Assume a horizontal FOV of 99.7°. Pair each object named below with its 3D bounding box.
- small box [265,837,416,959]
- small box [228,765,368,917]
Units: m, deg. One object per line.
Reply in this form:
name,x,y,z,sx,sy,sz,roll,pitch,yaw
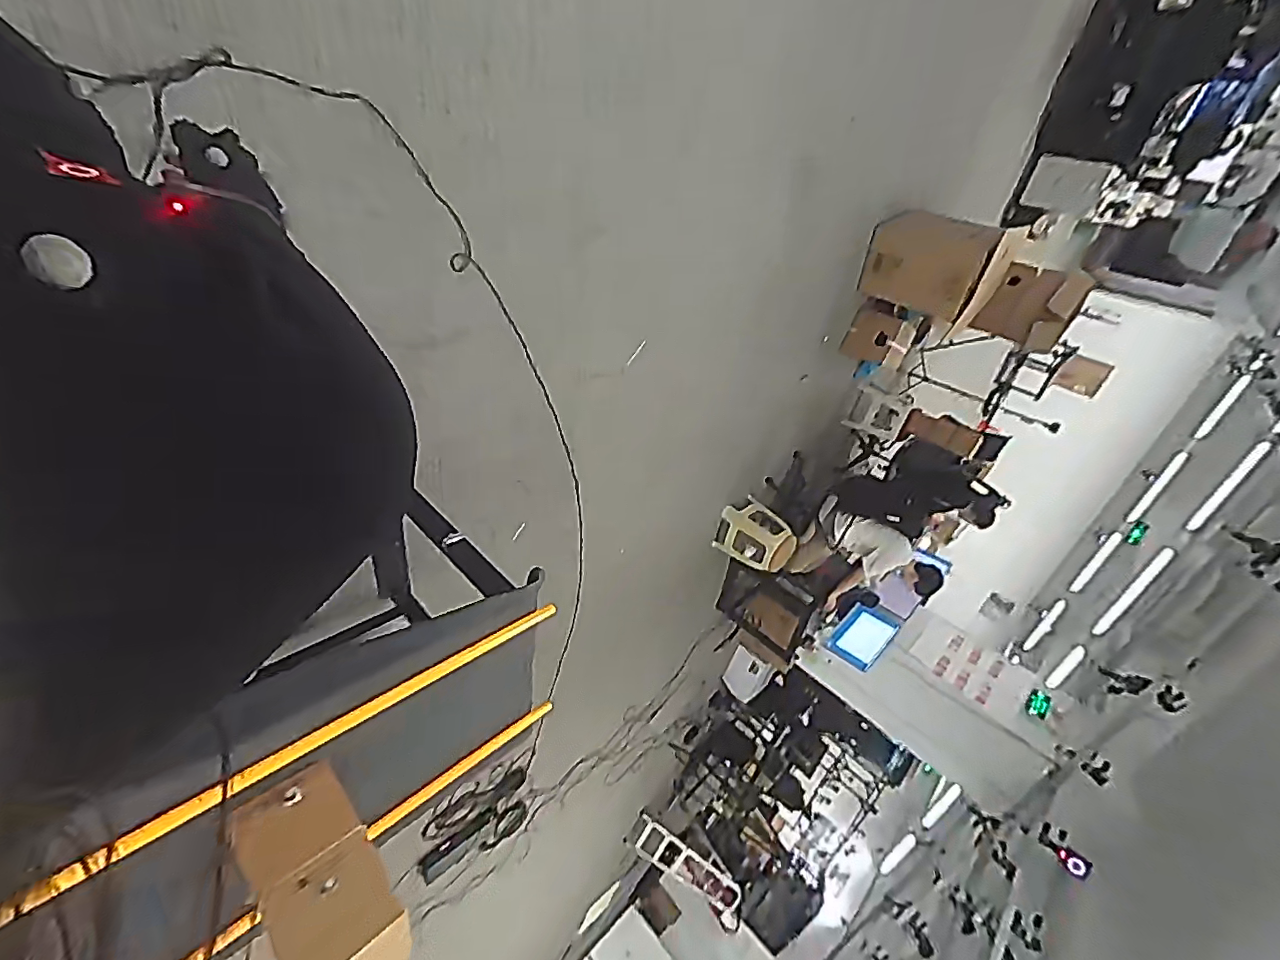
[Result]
small box,-0.490,0.746,0.895,0.168,0.176,0.179,-22,134,-44
small box,-0.606,0.664,0.979,0.168,0.176,0.179,-26,136,-41
